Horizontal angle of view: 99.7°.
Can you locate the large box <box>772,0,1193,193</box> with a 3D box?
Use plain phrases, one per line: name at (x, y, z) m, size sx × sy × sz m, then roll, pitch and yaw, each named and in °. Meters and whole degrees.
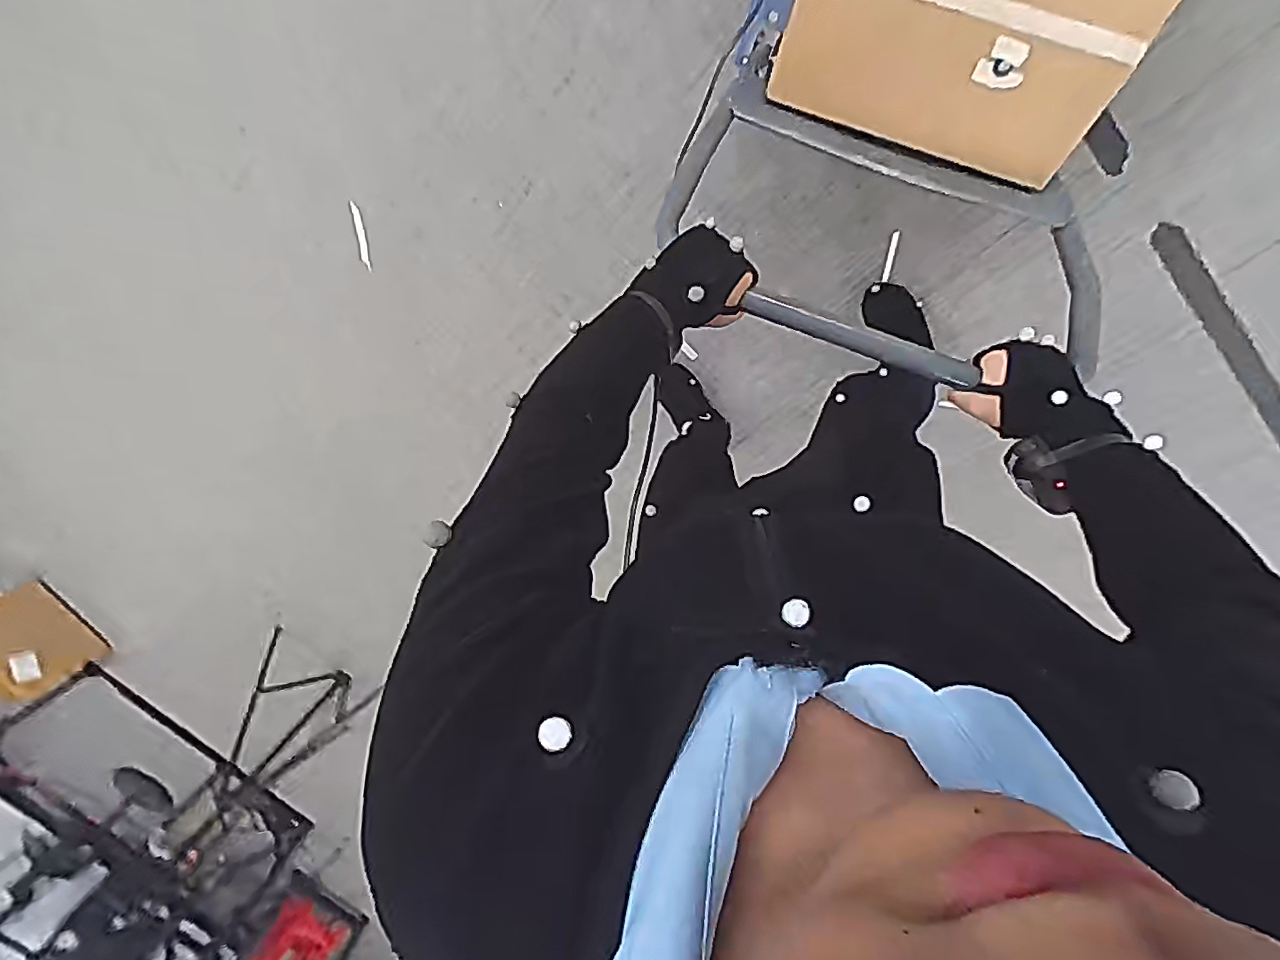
large box at (0.434, -0.651, 0.722) m, size 0.408 × 0.320 × 0.320 m, roll 20°, pitch 140°, yaw 2°
